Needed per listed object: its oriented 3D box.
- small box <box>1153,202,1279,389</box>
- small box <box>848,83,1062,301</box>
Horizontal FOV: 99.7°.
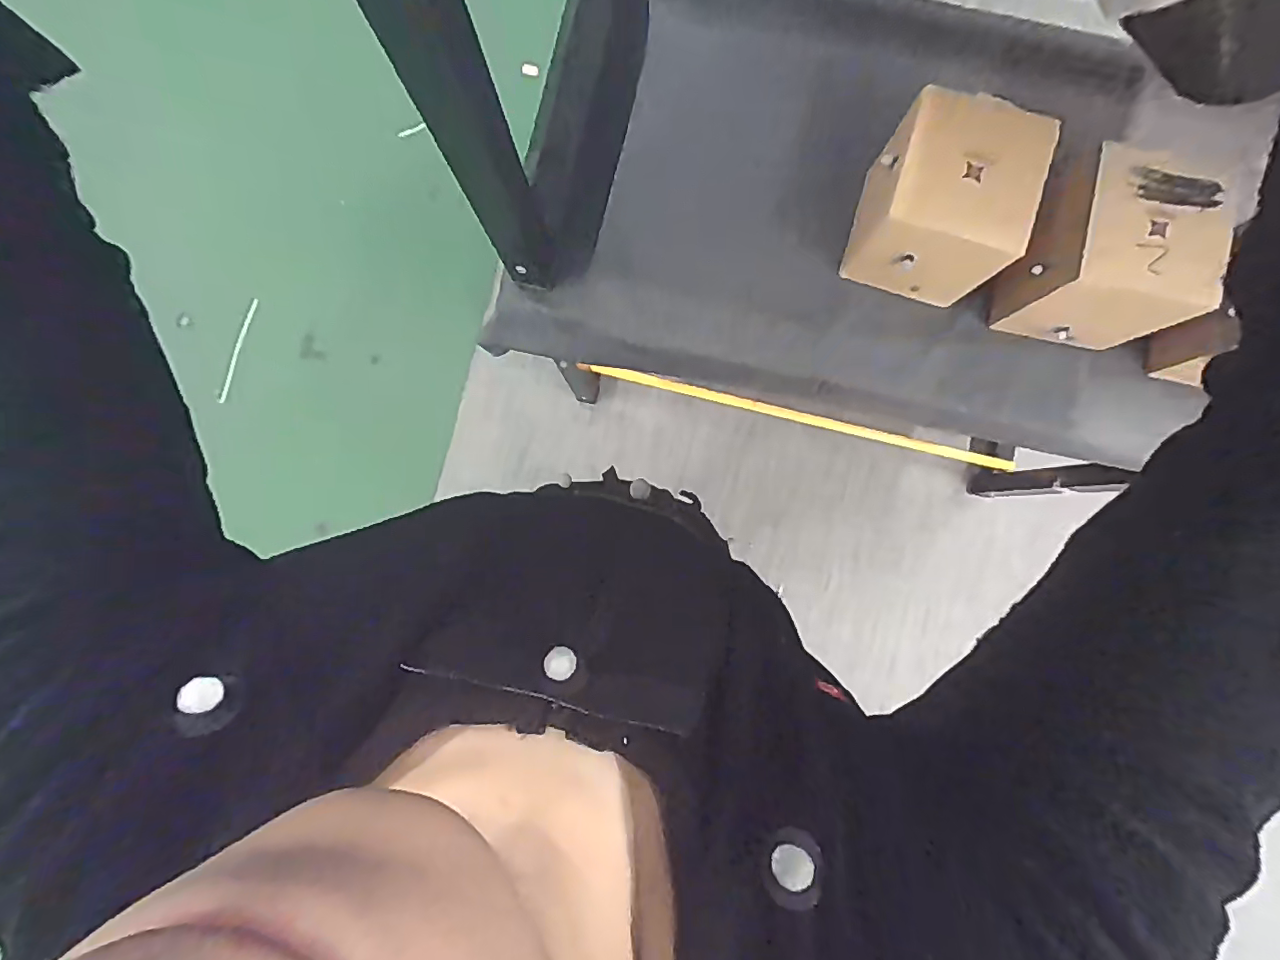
[{"bbox_3d":[0.825,-0.228,0.699,0.168,0.176,0.179,11,86,1],"label":"small box"},{"bbox_3d":[0.398,-0.364,0.717,0.168,0.176,0.179,17,86,2],"label":"small box"}]
